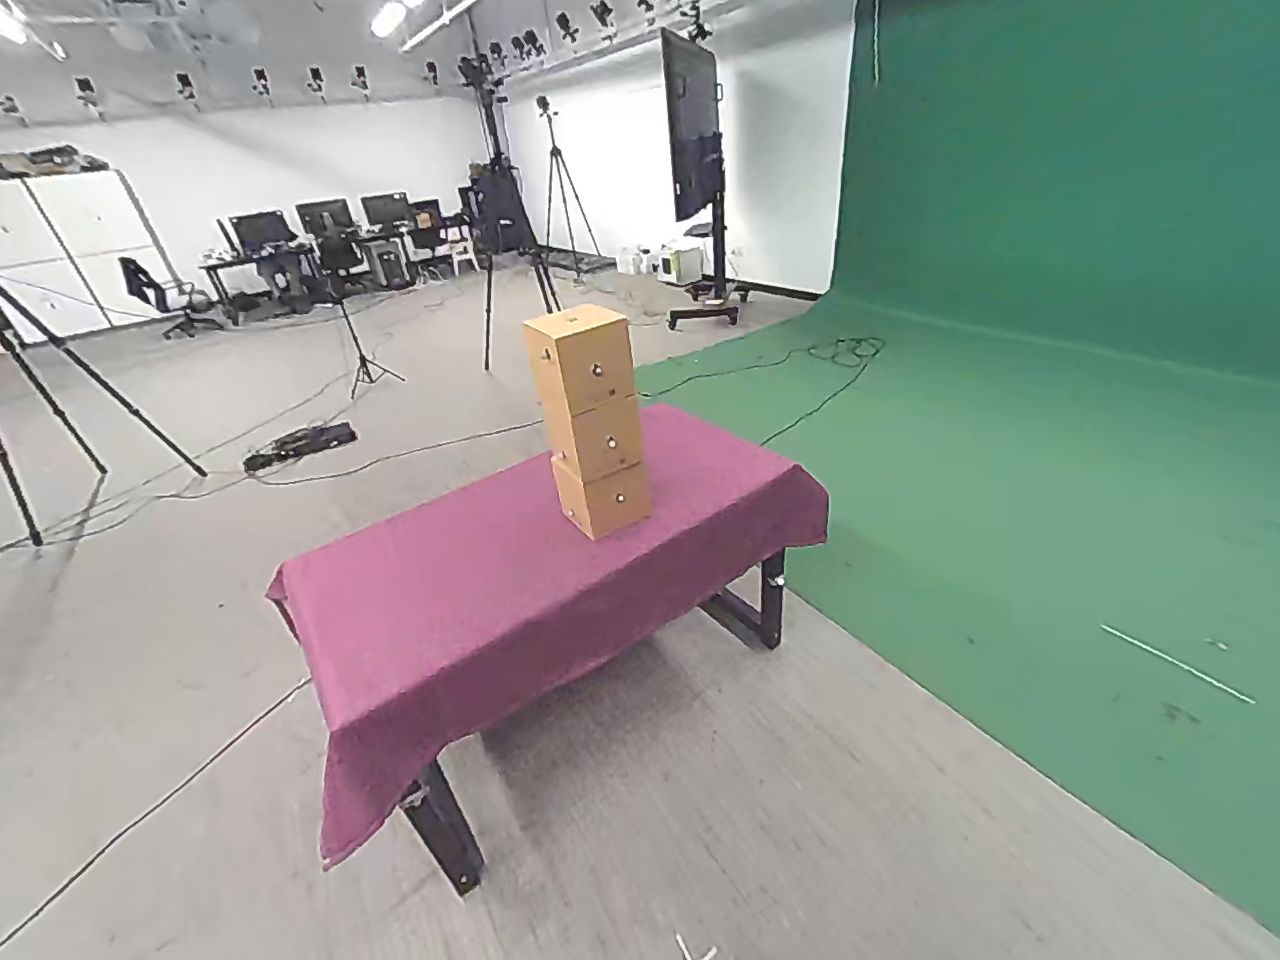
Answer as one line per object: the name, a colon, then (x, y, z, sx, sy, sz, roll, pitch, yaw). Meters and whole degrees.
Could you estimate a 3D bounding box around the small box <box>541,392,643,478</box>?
small box: (-0.106, -0.122, 1.246, 0.168, 0.176, 0.179, -22, 36, -22)

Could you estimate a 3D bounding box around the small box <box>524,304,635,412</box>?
small box: (-0.125, -0.260, 1.155, 0.168, 0.176, 0.179, -23, 35, -23)
